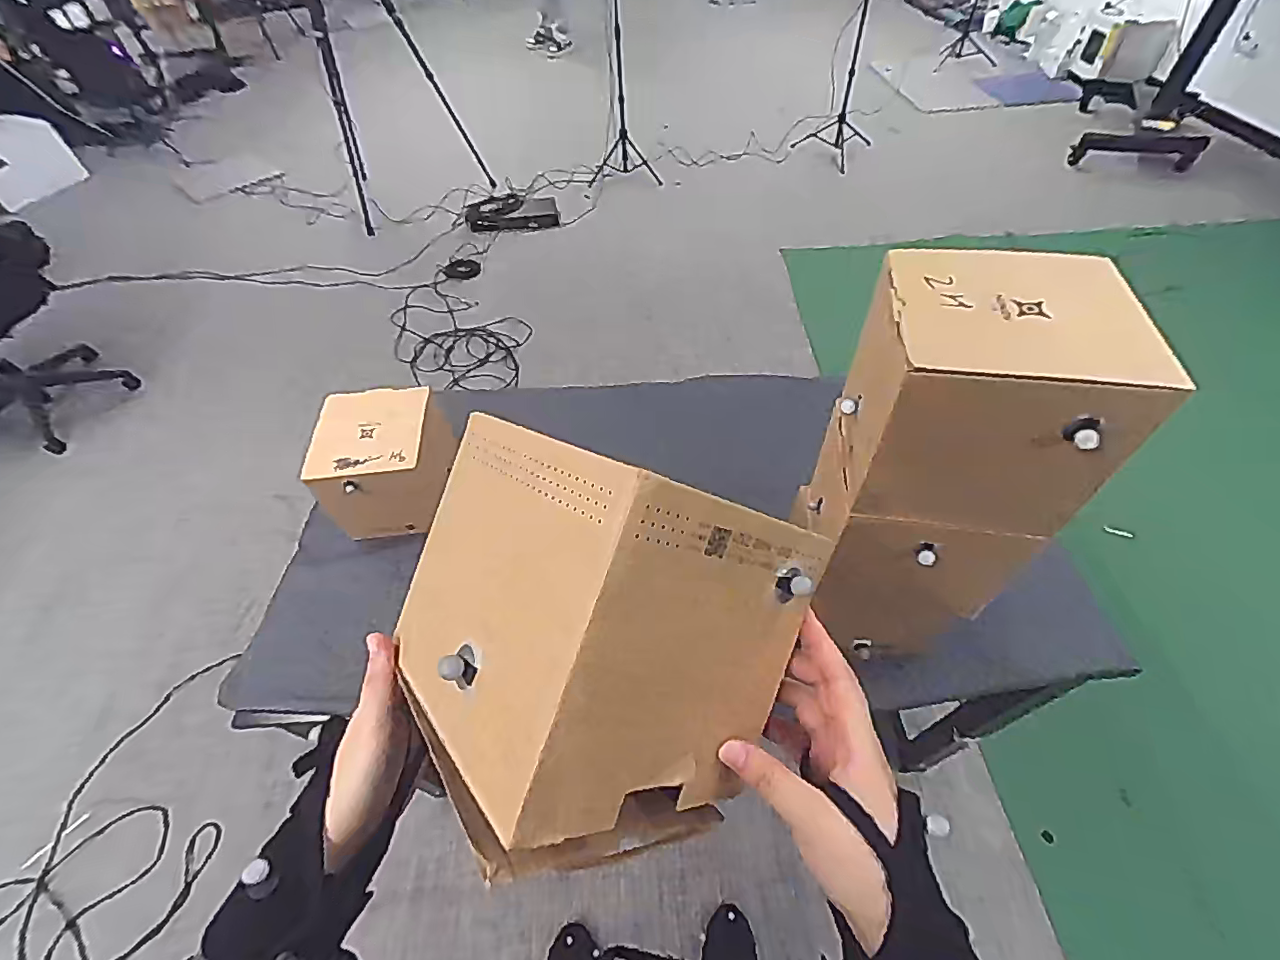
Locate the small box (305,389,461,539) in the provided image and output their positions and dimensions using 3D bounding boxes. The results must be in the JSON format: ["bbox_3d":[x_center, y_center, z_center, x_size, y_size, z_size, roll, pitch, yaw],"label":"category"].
[{"bbox_3d":[-0.402,-0.025,0.886,0.168,0.176,0.179,-6,52,-2],"label":"small box"}]

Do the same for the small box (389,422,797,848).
[{"bbox_3d":[-0.026,0.073,0.335,0.179,0.168,0.176,22,92,49],"label":"small box"}]

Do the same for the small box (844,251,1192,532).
[{"bbox_3d":[0.286,-0.072,0.464,0.179,0.176,0.168,6,51,10],"label":"small box"}]

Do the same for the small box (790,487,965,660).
[{"bbox_3d":[0.299,0.125,0.726,0.168,0.176,0.179,-3,51,2],"label":"small box"}]

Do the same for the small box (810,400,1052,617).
[{"bbox_3d":[0.292,0.034,0.591,0.179,0.176,0.168,5,51,9],"label":"small box"}]
